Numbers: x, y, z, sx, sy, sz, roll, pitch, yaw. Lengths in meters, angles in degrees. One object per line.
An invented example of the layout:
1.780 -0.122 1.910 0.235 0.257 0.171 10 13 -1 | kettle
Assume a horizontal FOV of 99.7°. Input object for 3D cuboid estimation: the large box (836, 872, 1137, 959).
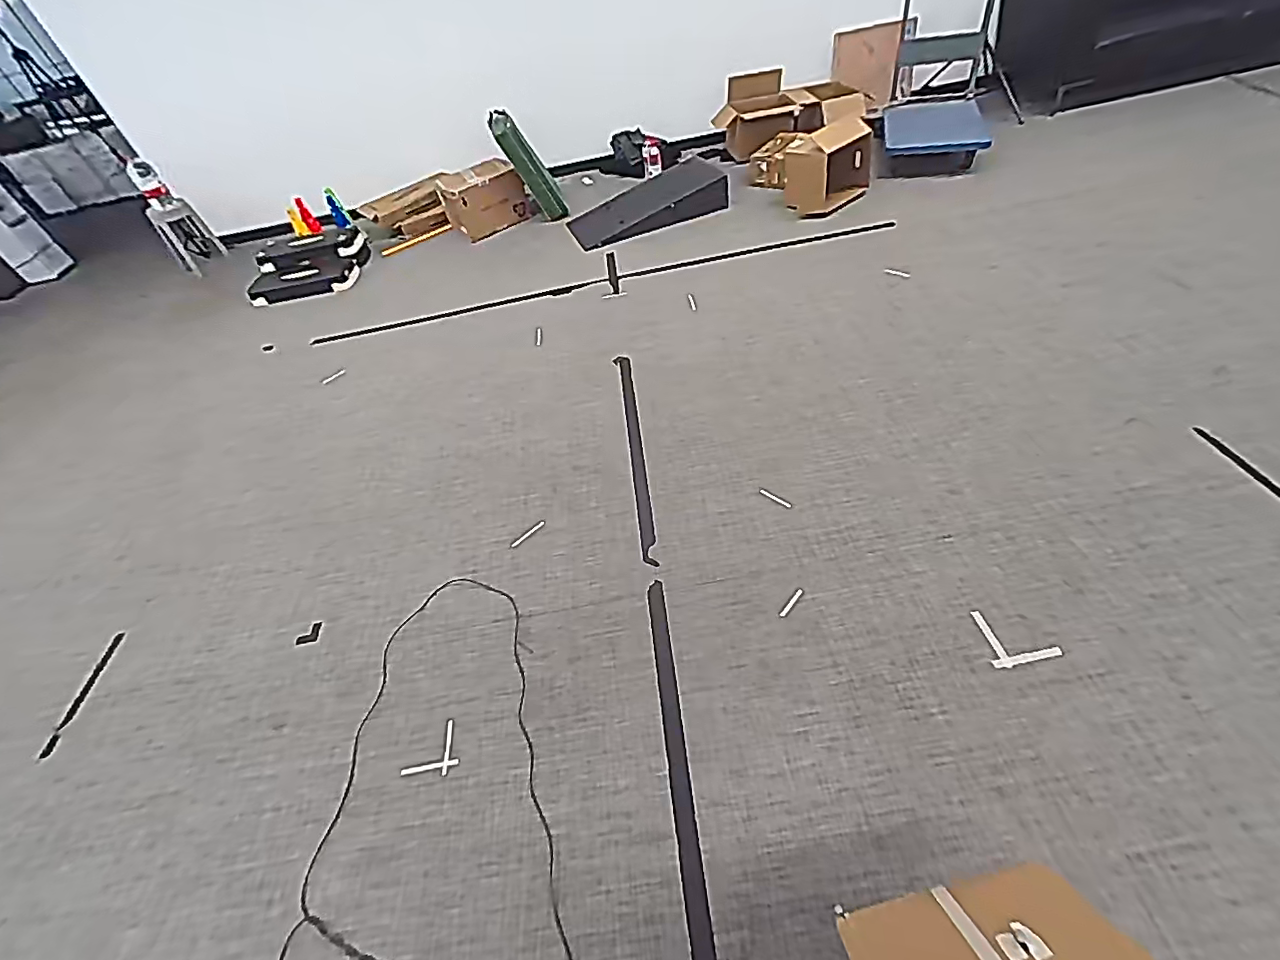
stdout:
0.466 0.731 0.576 0.320 0.408 0.320 -16 81 1 | large box
